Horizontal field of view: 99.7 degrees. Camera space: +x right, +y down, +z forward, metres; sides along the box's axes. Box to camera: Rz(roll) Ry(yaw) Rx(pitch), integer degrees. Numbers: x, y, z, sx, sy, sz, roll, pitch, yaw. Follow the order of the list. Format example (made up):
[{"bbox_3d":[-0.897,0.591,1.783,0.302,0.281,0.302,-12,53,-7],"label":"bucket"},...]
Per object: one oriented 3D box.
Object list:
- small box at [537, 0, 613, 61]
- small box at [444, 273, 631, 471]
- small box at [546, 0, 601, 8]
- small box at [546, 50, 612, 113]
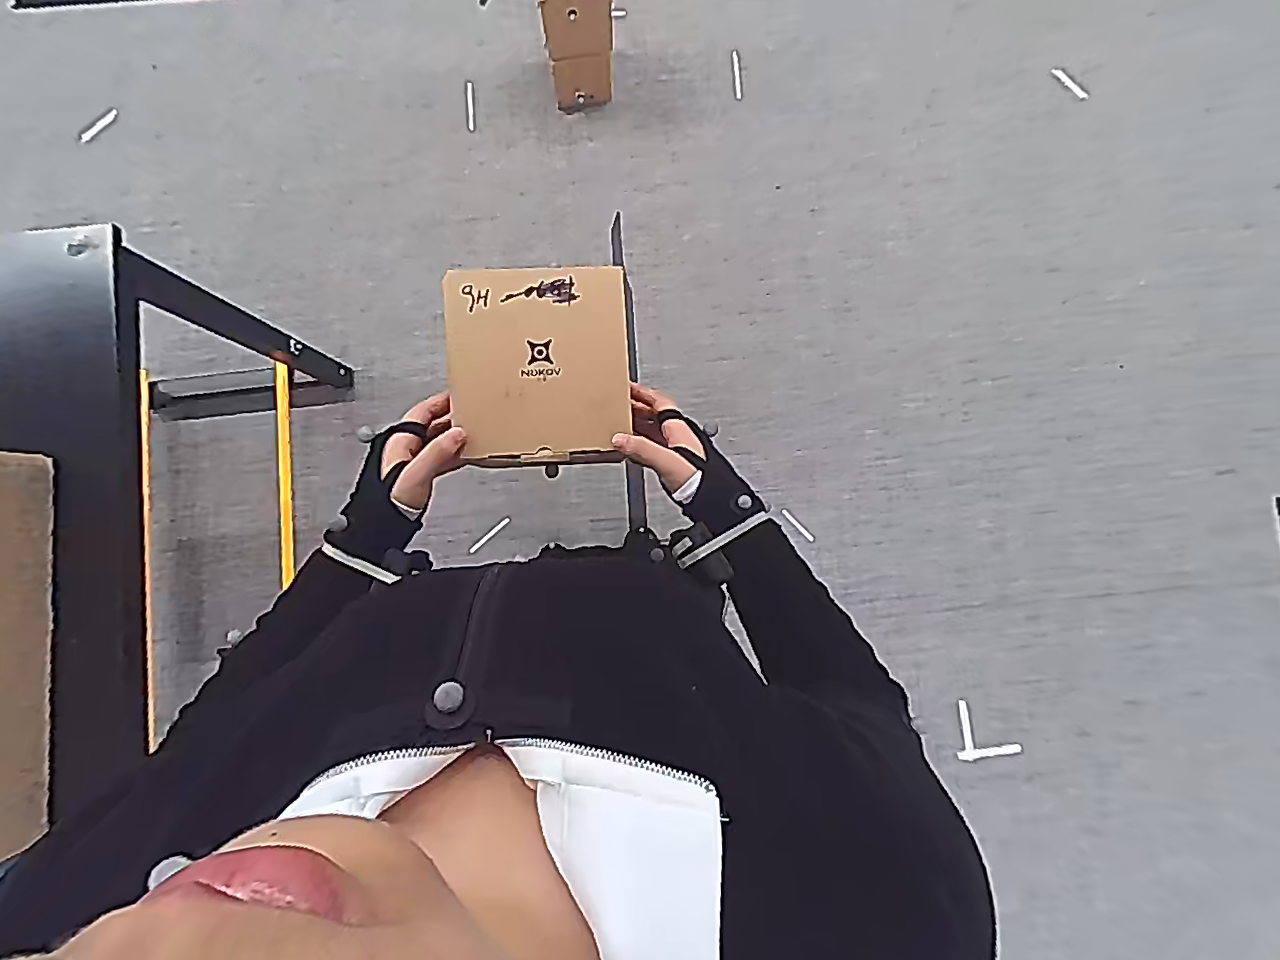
[{"bbox_3d":[-0.169,-1.209,1.371,0.179,0.176,0.168,-9,86,-2],"label":"small box"},{"bbox_3d":[-0.097,-0.100,0.572,0.168,0.176,0.179,-3,90,-5],"label":"small box"},{"bbox_3d":[-0.158,-1.219,1.206,0.168,0.176,0.179,-13,86,-1],"label":"small box"},{"bbox_3d":[-0.177,-1.192,1.534,0.168,0.176,0.179,-12,87,-1],"label":"small box"}]
